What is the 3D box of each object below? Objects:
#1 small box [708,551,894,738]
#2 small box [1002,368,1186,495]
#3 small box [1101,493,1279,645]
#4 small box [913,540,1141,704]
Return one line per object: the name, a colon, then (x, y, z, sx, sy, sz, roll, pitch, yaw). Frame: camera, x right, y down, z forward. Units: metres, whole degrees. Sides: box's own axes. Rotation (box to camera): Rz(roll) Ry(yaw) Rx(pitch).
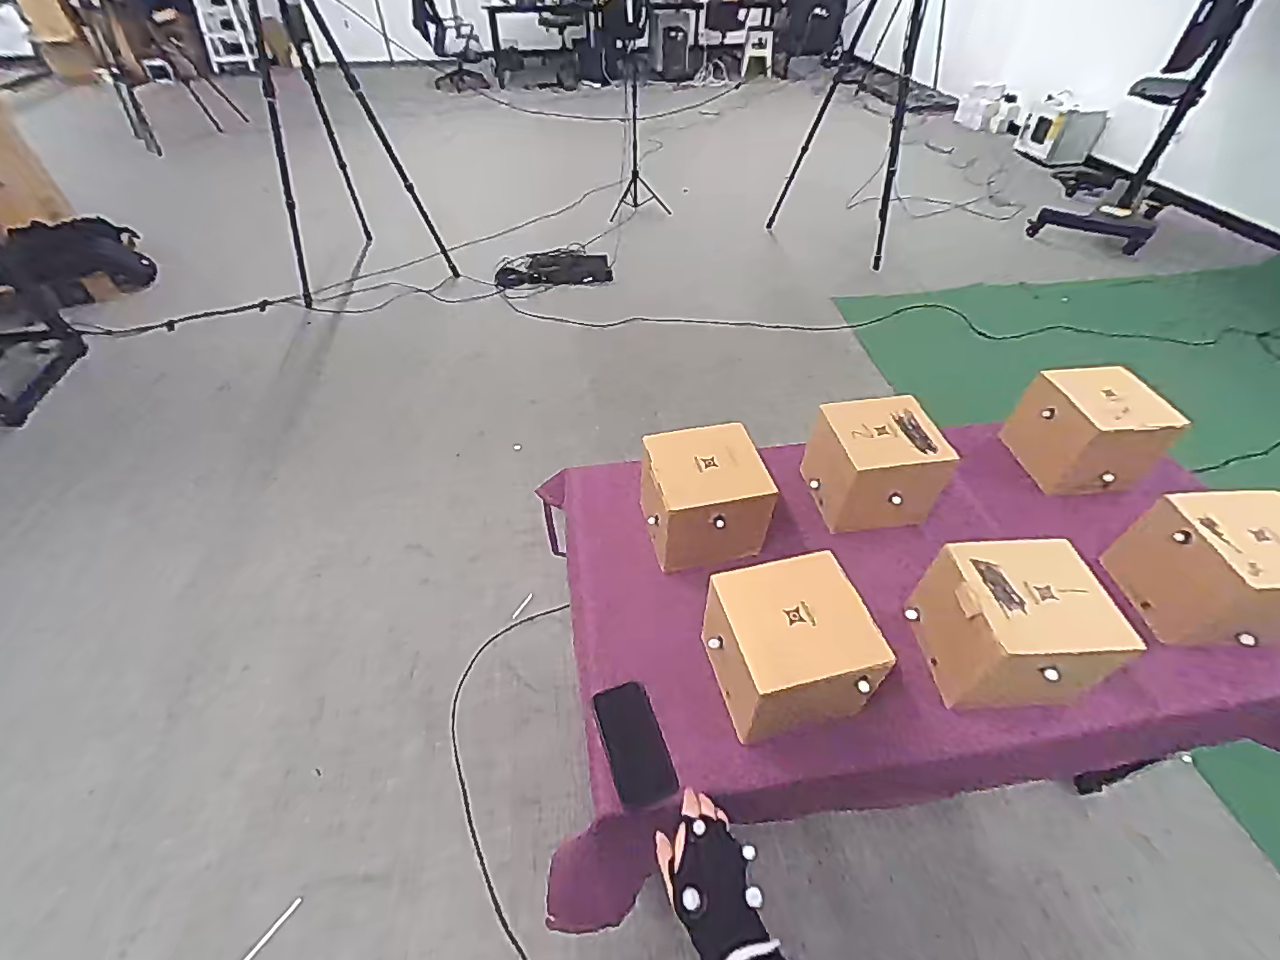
small box: (0.198, 0.224, 0.731, 0.179, 0.176, 0.168, -10, 47, -11)
small box: (0.840, -0.092, 1.028, 0.168, 0.176, 0.179, -4, 48, -3)
small box: (0.870, 0.136, 0.815, 0.179, 0.176, 0.168, -1, 46, -1)
small box: (0.510, 0.200, 0.753, 0.179, 0.176, 0.168, -1, 47, -3)
